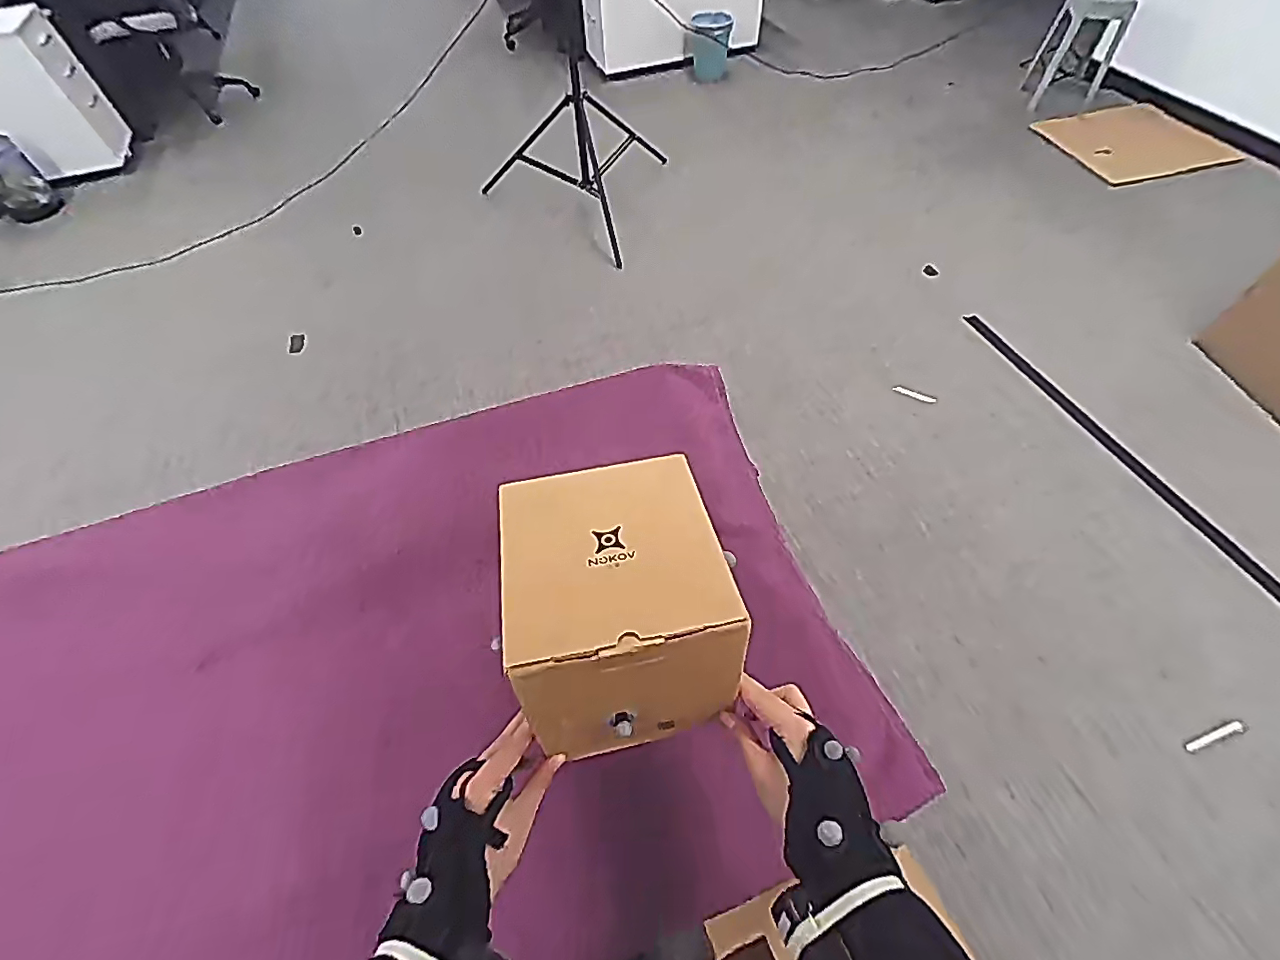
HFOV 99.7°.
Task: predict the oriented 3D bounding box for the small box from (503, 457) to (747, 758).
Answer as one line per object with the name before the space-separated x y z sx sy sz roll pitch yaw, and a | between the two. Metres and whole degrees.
small box | -0.020 0.108 0.471 0.168 0.176 0.179 -11 45 -7
